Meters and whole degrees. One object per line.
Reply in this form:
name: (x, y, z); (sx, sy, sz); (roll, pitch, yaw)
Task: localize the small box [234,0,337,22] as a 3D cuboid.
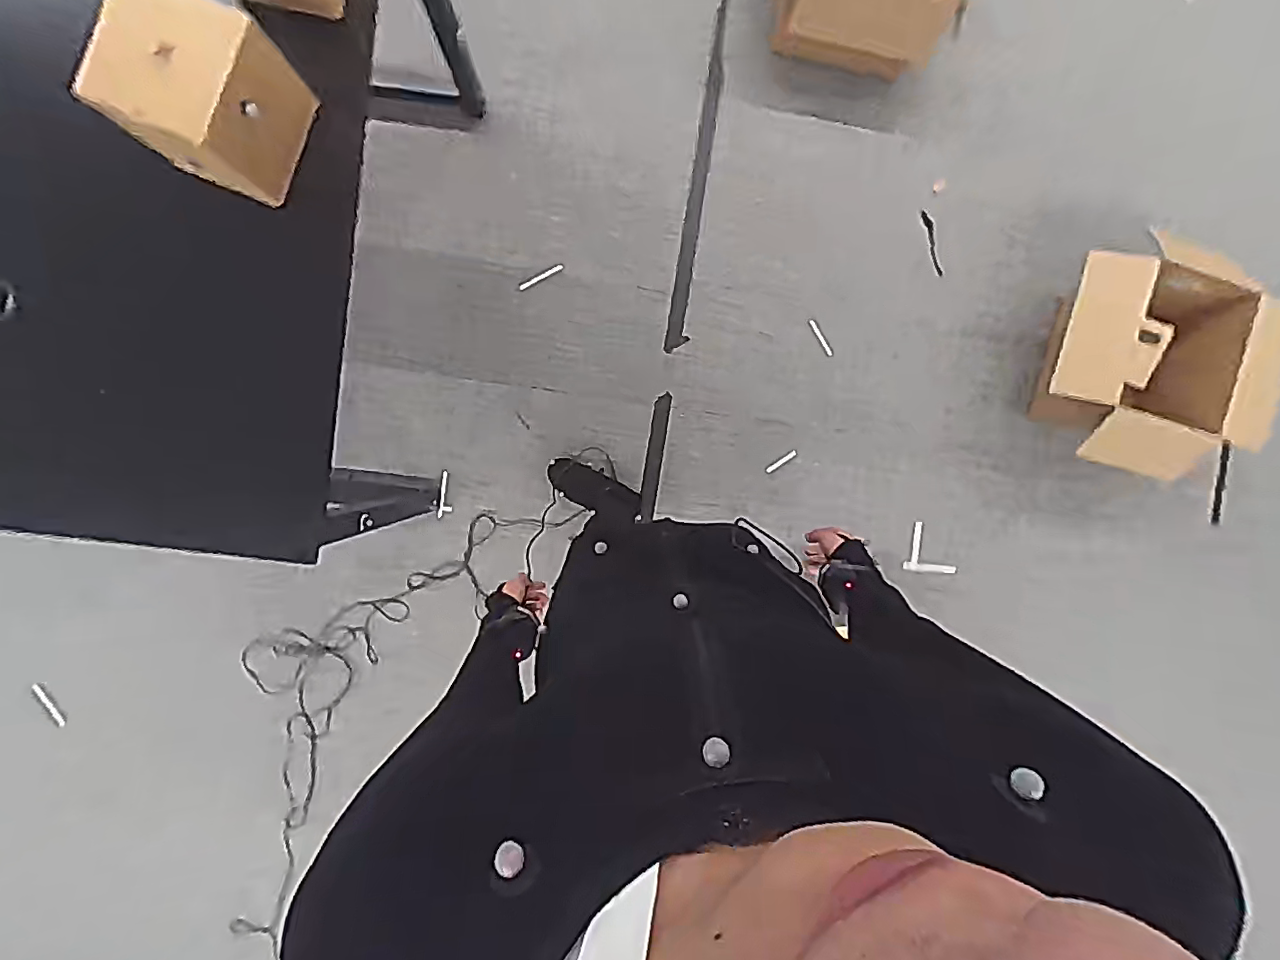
small box: (-0.531, -0.797, 0.743); (0.168, 0.176, 0.179); (9, 93, -3)

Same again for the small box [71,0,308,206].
small box: (-0.604, -0.526, 0.753); (0.168, 0.176, 0.179); (20, 92, -3)
